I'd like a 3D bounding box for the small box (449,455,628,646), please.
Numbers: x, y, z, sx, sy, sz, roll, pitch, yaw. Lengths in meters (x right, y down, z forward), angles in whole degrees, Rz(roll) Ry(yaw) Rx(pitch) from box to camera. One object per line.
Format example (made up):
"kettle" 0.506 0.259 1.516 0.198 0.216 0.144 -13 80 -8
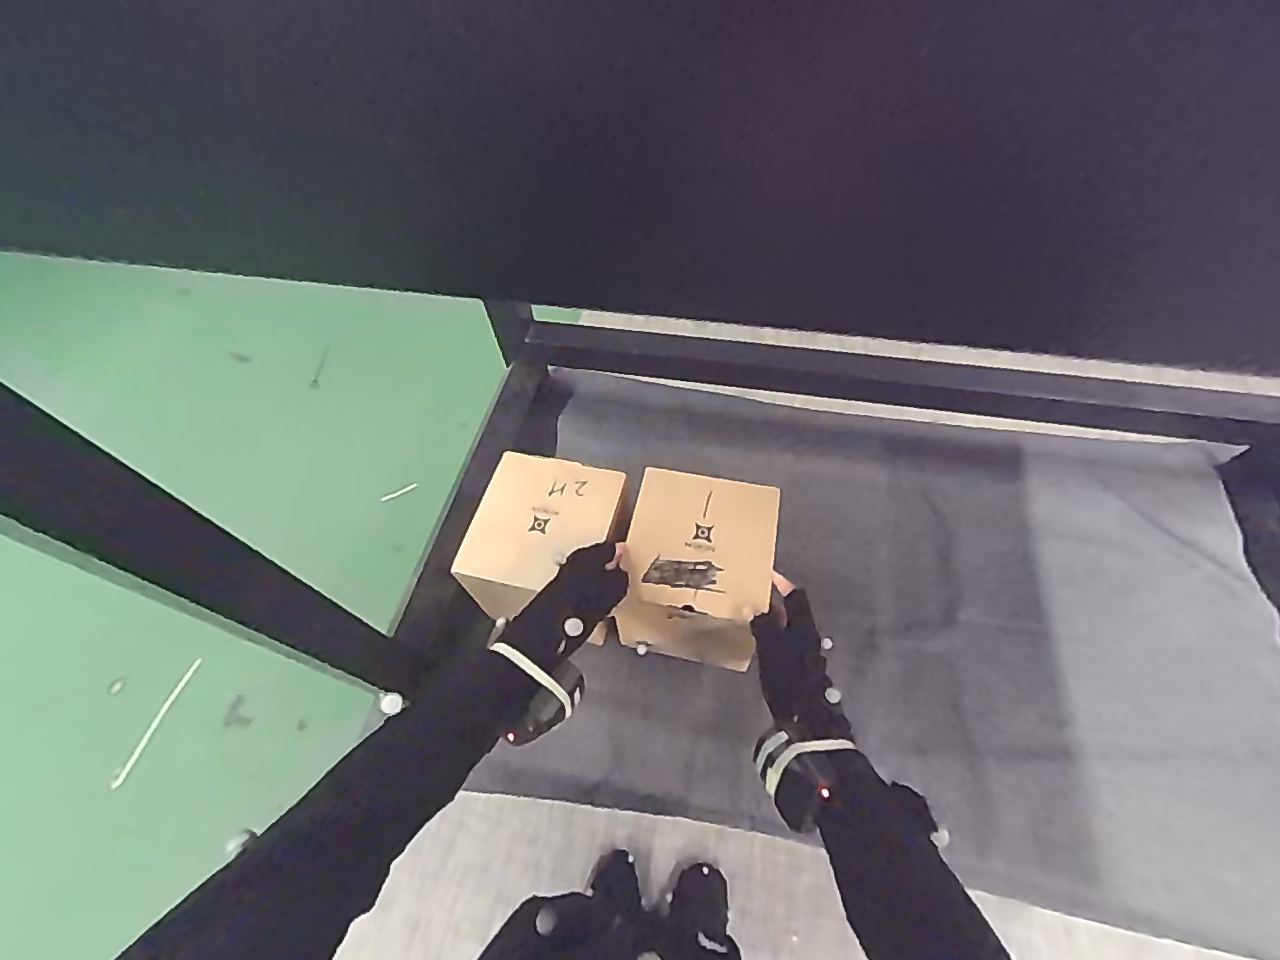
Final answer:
"small box" -0.113 0.097 0.702 0.168 0.176 0.179 11 58 9

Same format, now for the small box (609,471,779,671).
"small box" 0.069 0.116 0.665 0.168 0.176 0.179 9 56 9
